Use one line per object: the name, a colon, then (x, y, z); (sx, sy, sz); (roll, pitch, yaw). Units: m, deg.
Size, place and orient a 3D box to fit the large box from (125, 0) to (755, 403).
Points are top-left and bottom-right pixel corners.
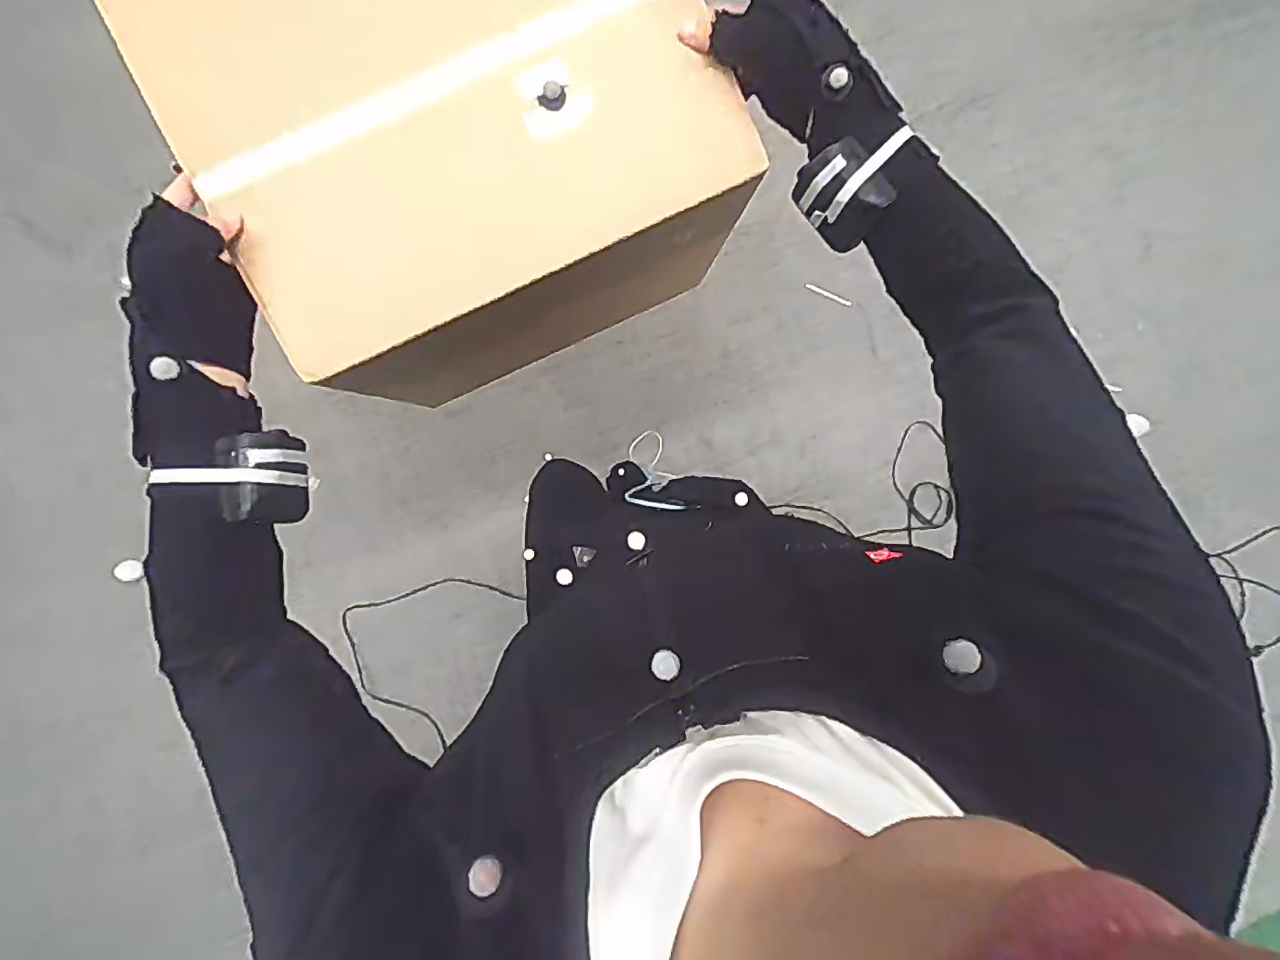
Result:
large box: (-0.158, -0.316, 0.570); (0.408, 0.320, 0.320); (-26, 95, -3)
